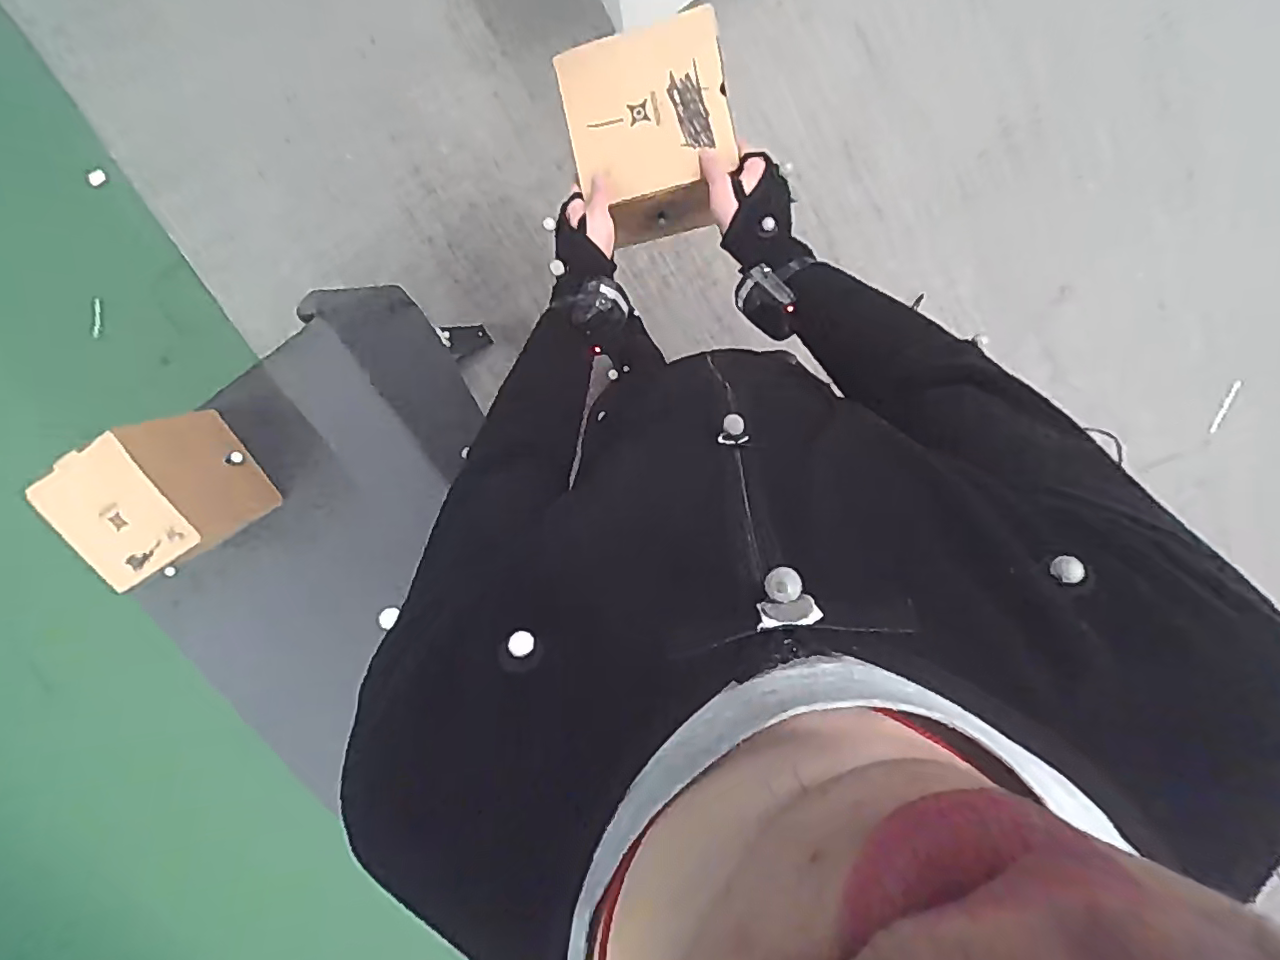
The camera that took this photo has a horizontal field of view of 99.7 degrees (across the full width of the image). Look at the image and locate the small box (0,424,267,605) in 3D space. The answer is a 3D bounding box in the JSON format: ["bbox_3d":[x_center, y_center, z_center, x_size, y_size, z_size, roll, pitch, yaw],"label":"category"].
[{"bbox_3d":[-0.685,0.035,0.754,0.168,0.176,0.179,-29,102,9],"label":"small box"}]

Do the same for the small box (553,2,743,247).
[{"bbox_3d":[0.015,-0.396,0.638,0.179,0.176,0.168,-10,96,7],"label":"small box"}]
